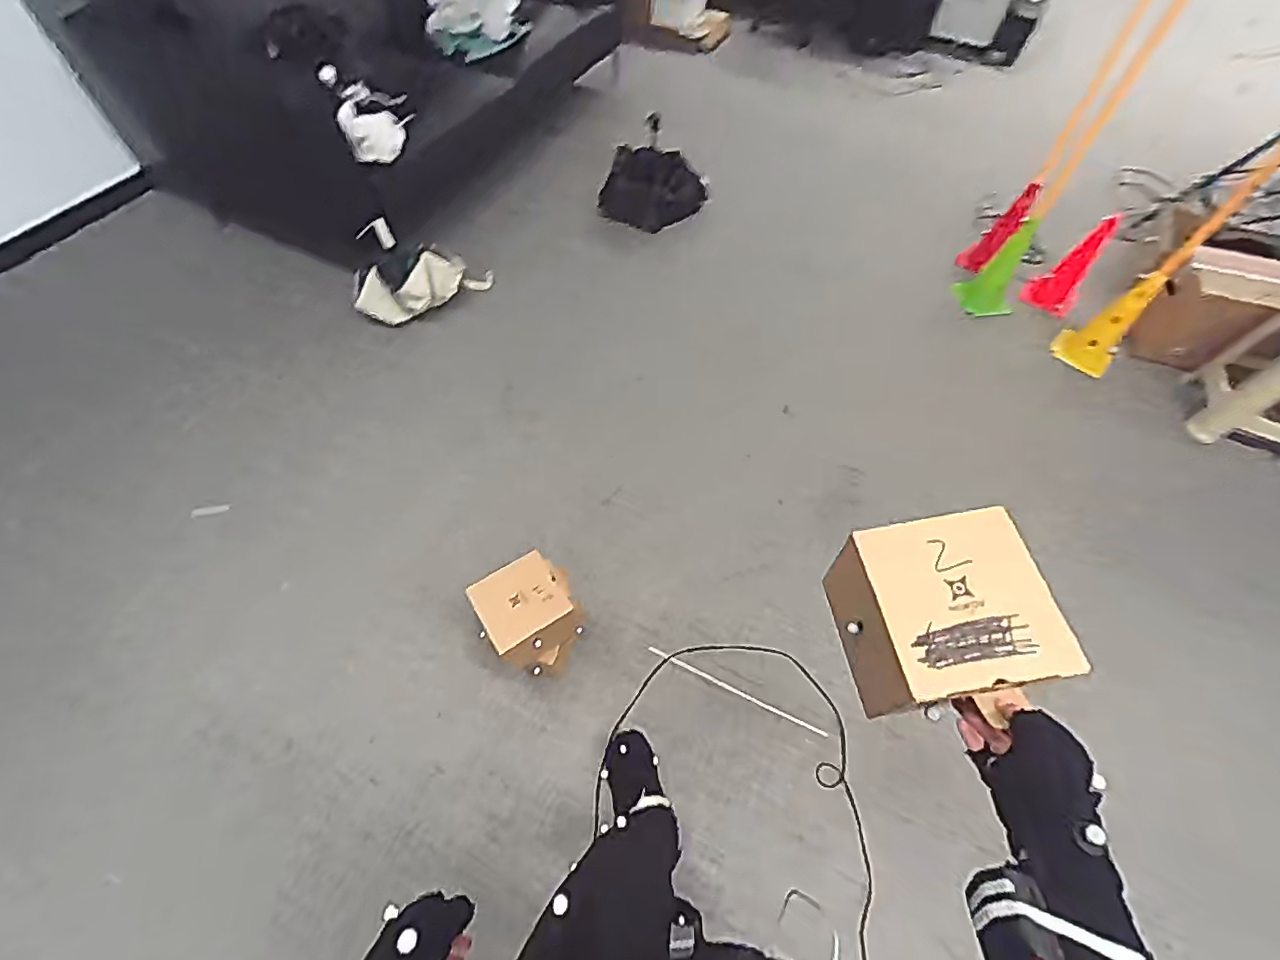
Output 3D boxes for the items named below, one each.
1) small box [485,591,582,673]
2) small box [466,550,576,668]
[{"bbox_3d":[-0.251,0.361,1.338,0.179,0.176,0.168,19,58,9],"label":"small box"},{"bbox_3d":[-0.257,0.292,1.206,0.179,0.176,0.168,-29,64,-20],"label":"small box"}]
